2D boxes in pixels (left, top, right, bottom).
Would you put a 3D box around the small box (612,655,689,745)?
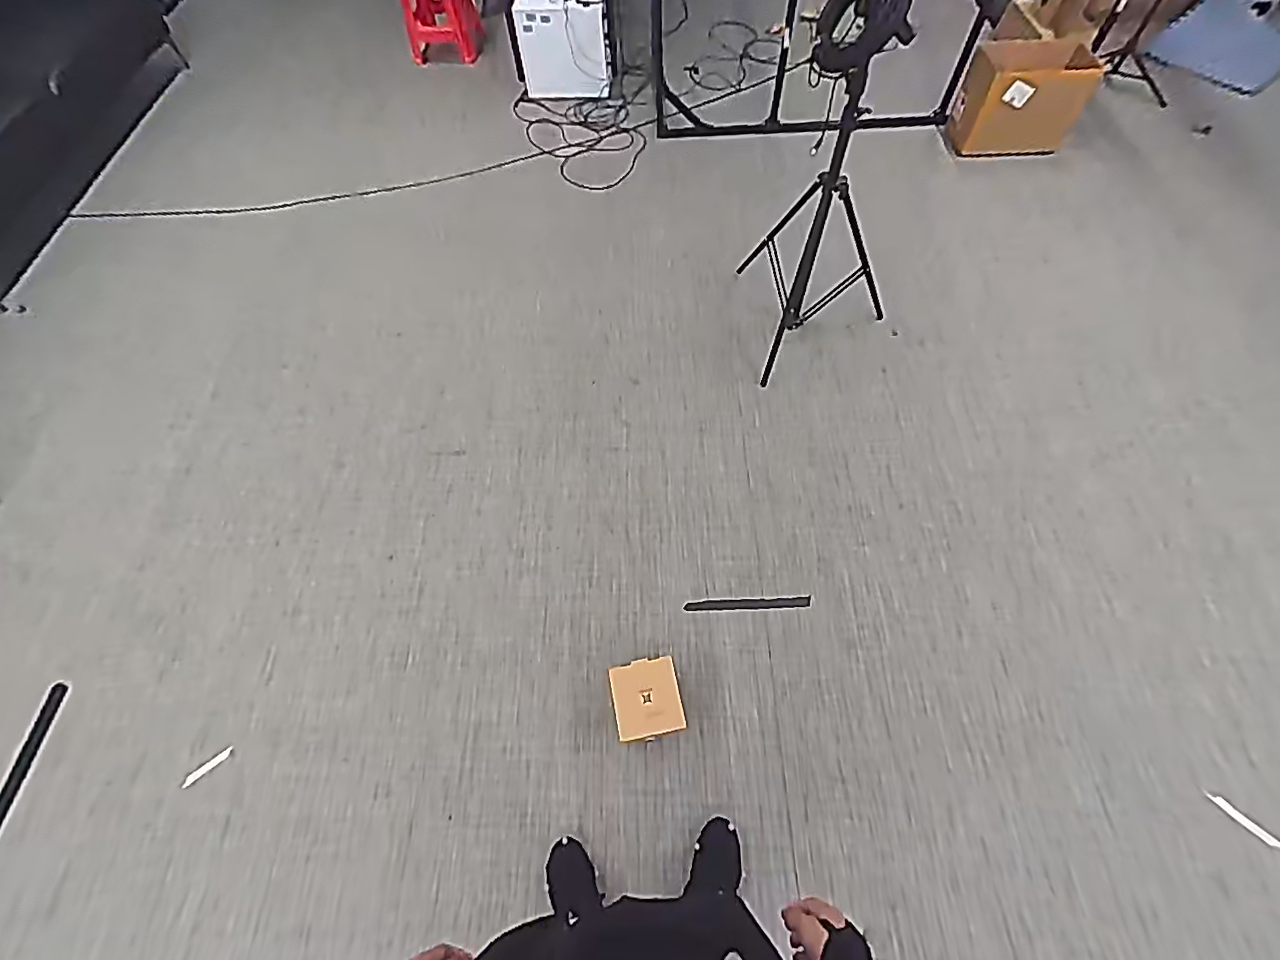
[{"bbox_3d":[0.026,0.571,1.394,0.168,0.176,0.179,-11,61,-2],"label":"small box"}]
